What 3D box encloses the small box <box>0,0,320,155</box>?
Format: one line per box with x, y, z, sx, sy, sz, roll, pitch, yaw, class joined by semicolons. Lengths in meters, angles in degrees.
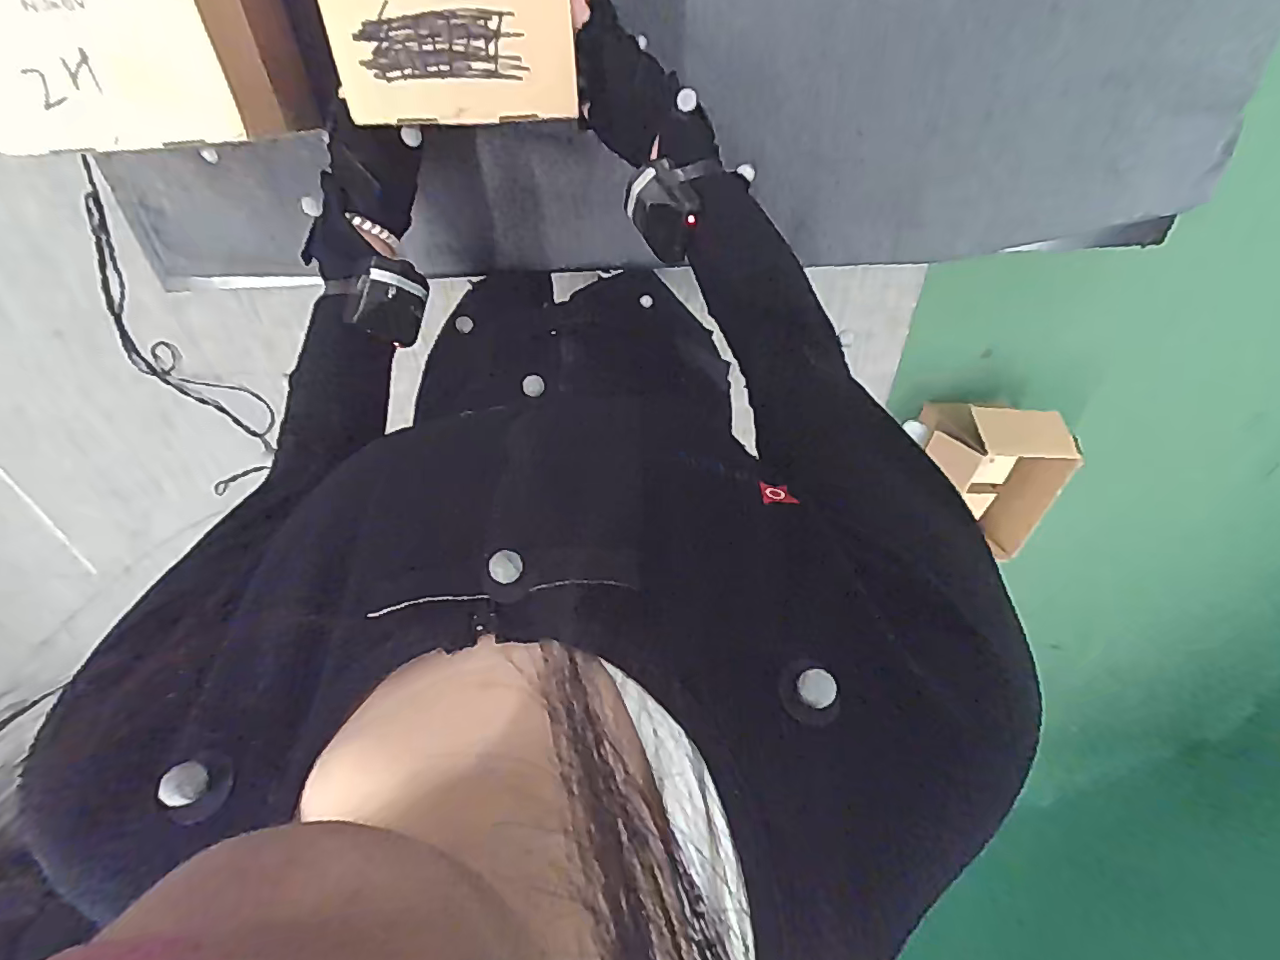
-0.371;-0.347;0.393;0.168;0.176;0.179;-7;126;-5;small box
